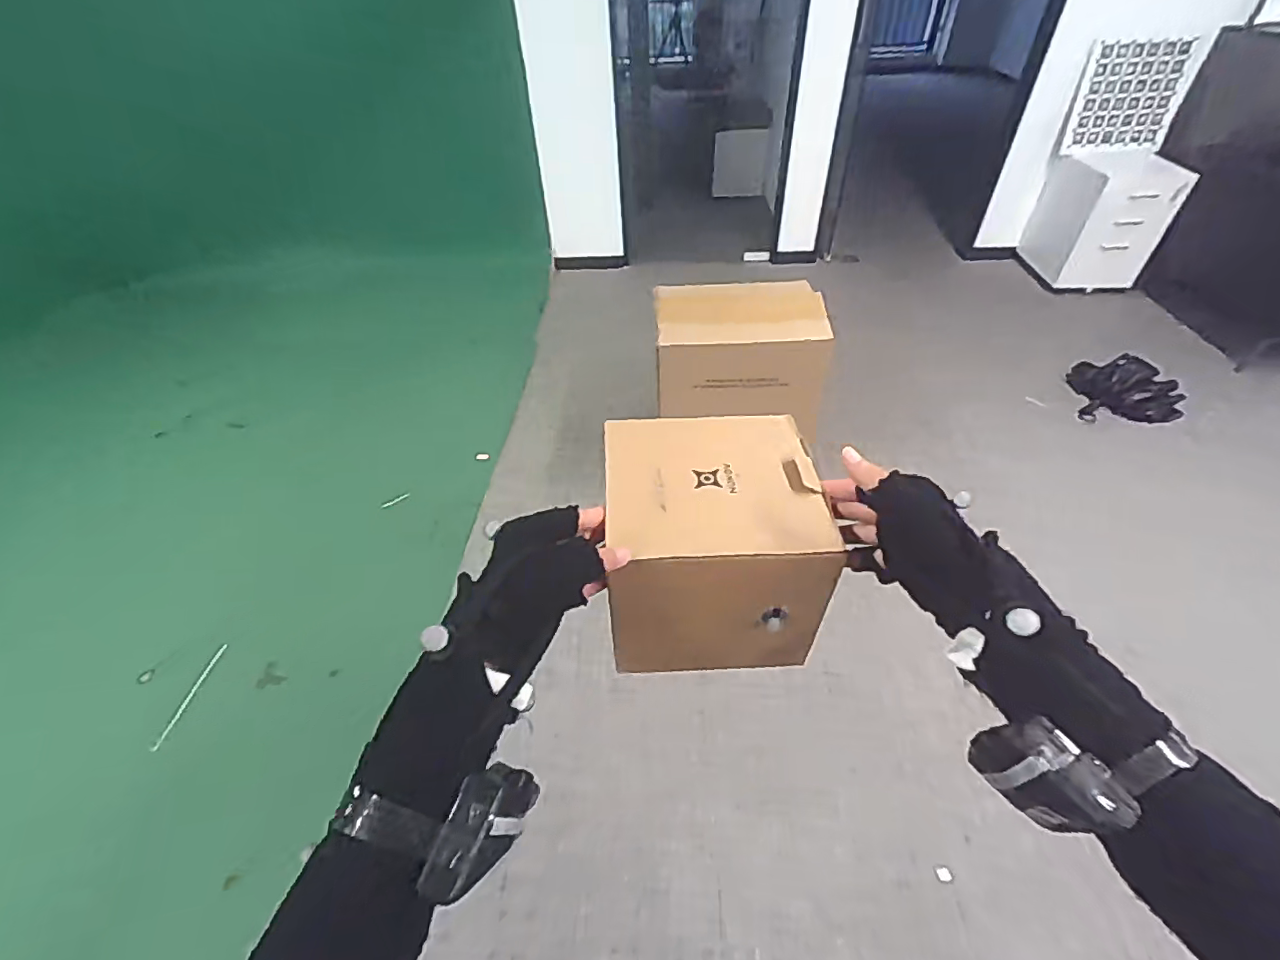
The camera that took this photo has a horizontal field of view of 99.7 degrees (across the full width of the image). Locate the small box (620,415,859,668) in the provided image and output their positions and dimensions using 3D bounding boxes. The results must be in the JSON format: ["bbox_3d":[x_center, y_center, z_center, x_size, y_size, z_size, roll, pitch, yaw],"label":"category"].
[{"bbox_3d":[0.071,0.058,0.501,0.179,0.176,0.168,-3,42,-1],"label":"small box"}]
